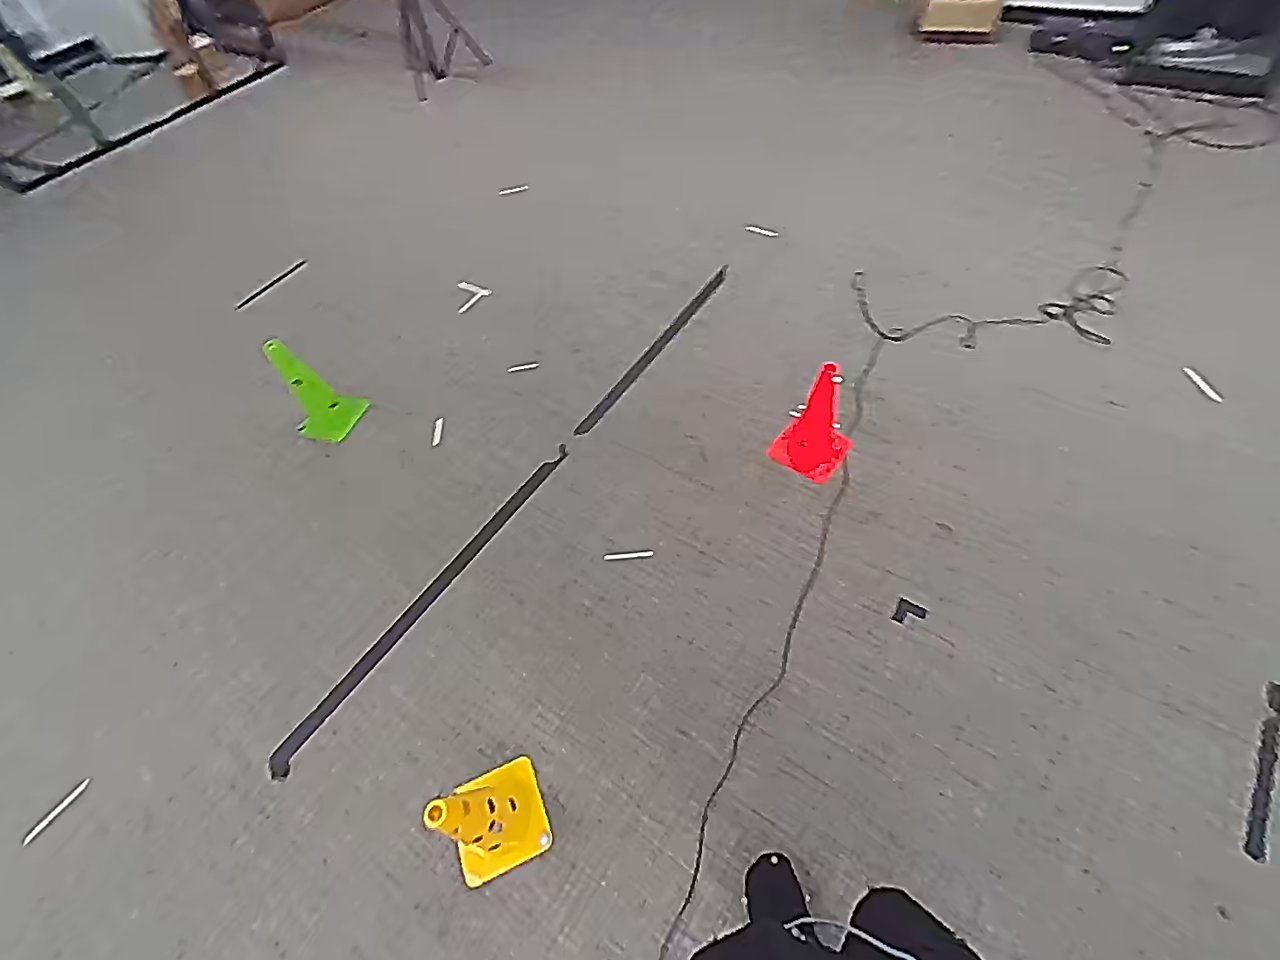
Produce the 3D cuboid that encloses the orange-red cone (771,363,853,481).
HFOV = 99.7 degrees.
[{"bbox_3d":[0.516,-0.194,1.552,0.198,0.360,0.199,34,68,27],"label":"orange-red cone"}]

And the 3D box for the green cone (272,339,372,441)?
[{"bbox_3d":[-1.137,-0.331,1.867,0.200,0.368,0.202,13,58,15],"label":"green cone"}]
